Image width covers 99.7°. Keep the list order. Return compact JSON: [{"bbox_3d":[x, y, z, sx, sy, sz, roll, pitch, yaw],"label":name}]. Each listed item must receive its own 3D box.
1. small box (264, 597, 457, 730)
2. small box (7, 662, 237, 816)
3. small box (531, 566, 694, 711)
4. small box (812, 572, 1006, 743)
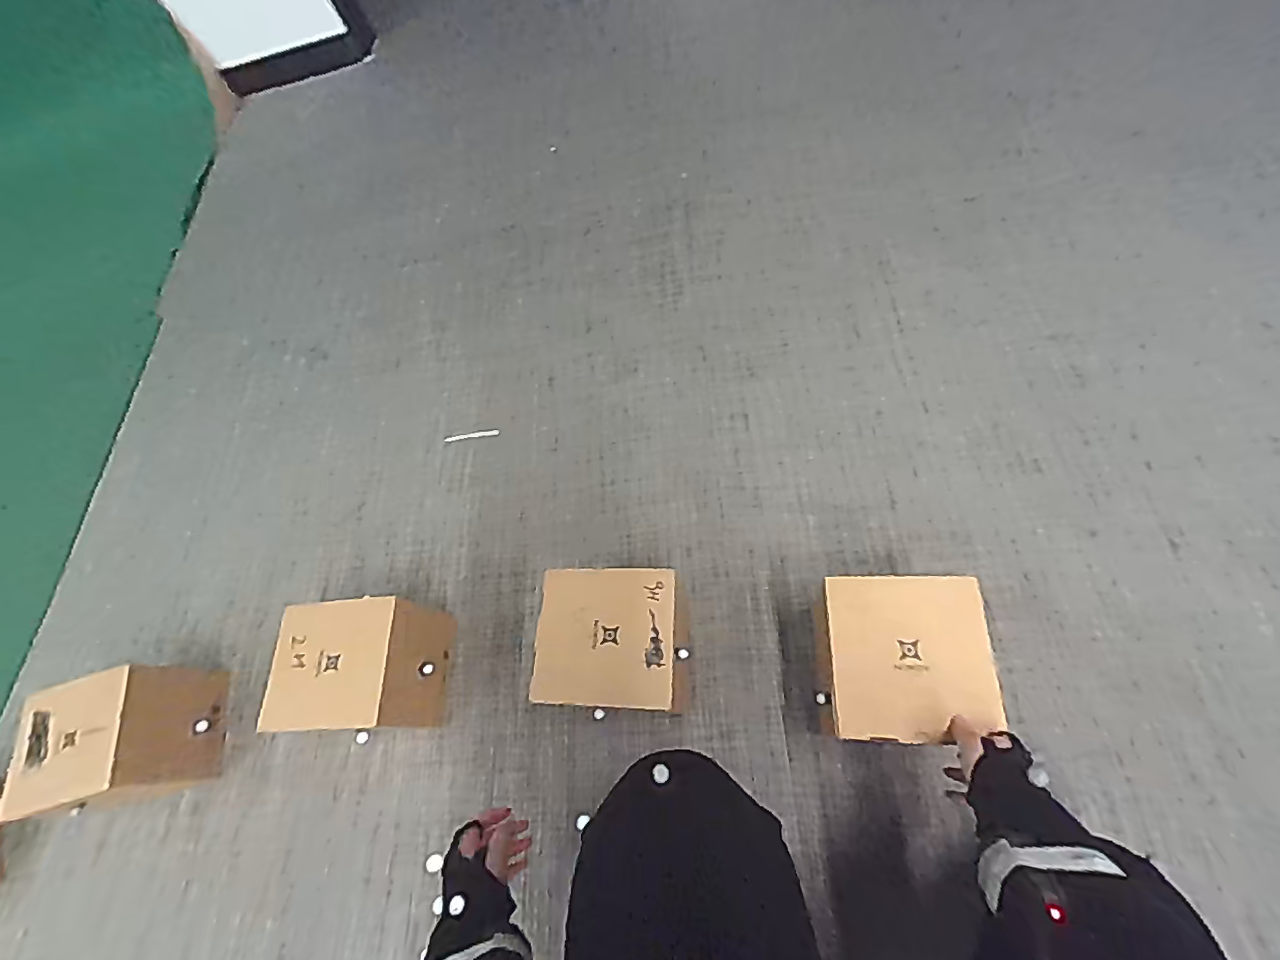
[{"bbox_3d":[-0.392,0.274,0.794,0.179,0.176,0.168,-7,64,10],"label":"small box"},{"bbox_3d":[-0.771,0.392,0.827,0.179,0.176,0.168,-18,63,4],"label":"small box"},{"bbox_3d":[-0.026,0.220,0.737,0.179,0.176,0.168,-2,66,13],"label":"small box"},{"bbox_3d":[0.308,0.220,0.663,0.168,0.176,0.179,-2,66,11],"label":"small box"}]
